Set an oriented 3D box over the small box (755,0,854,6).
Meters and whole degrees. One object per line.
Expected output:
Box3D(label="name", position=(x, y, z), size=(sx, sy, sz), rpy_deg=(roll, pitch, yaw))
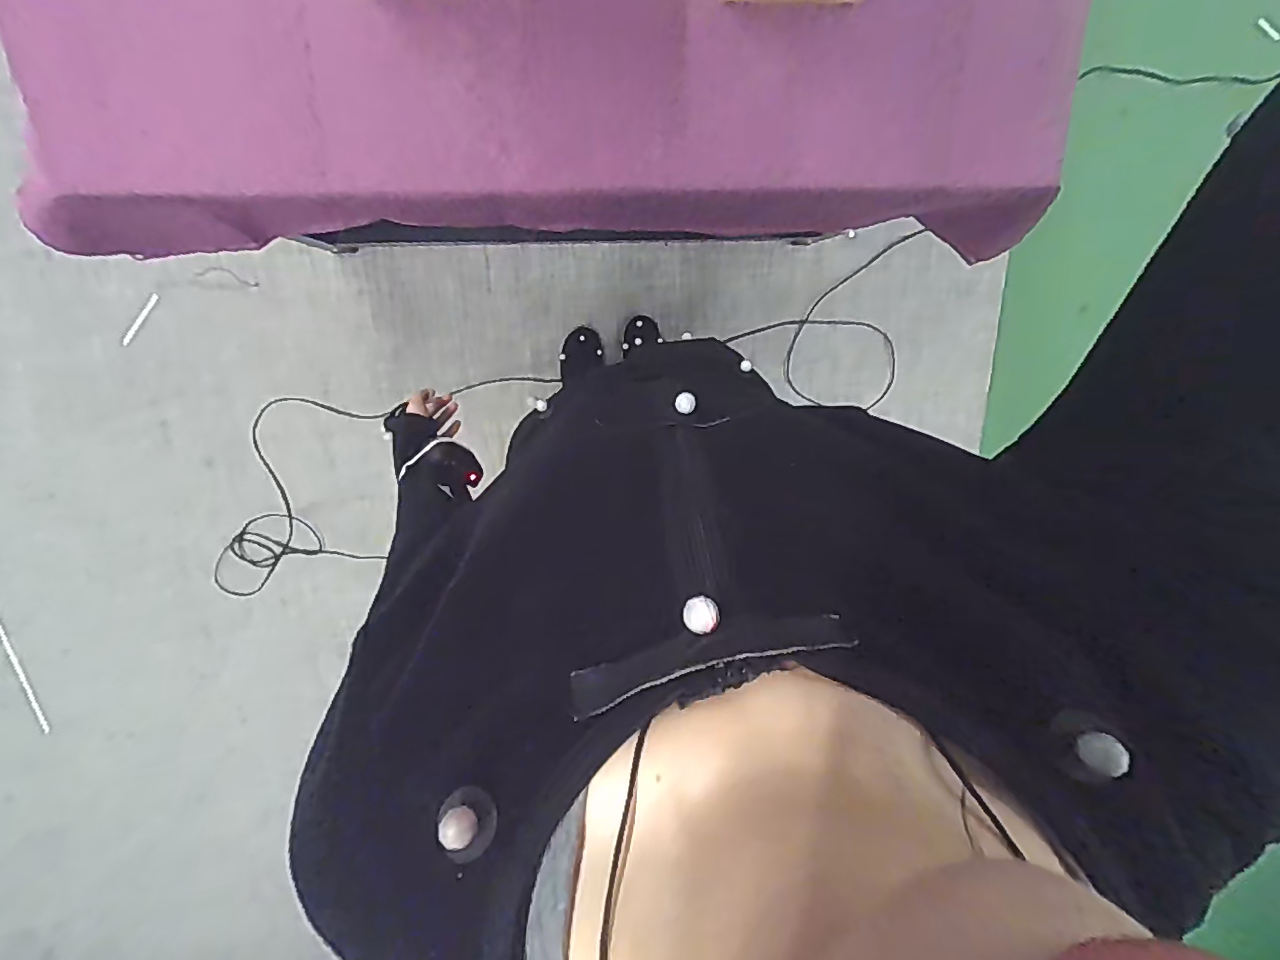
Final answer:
Box3D(label="small box", position=(0.186, -0.607, 0.529), size=(0.179, 0.176, 0.168), rpy_deg=(-5, 107, -8))
